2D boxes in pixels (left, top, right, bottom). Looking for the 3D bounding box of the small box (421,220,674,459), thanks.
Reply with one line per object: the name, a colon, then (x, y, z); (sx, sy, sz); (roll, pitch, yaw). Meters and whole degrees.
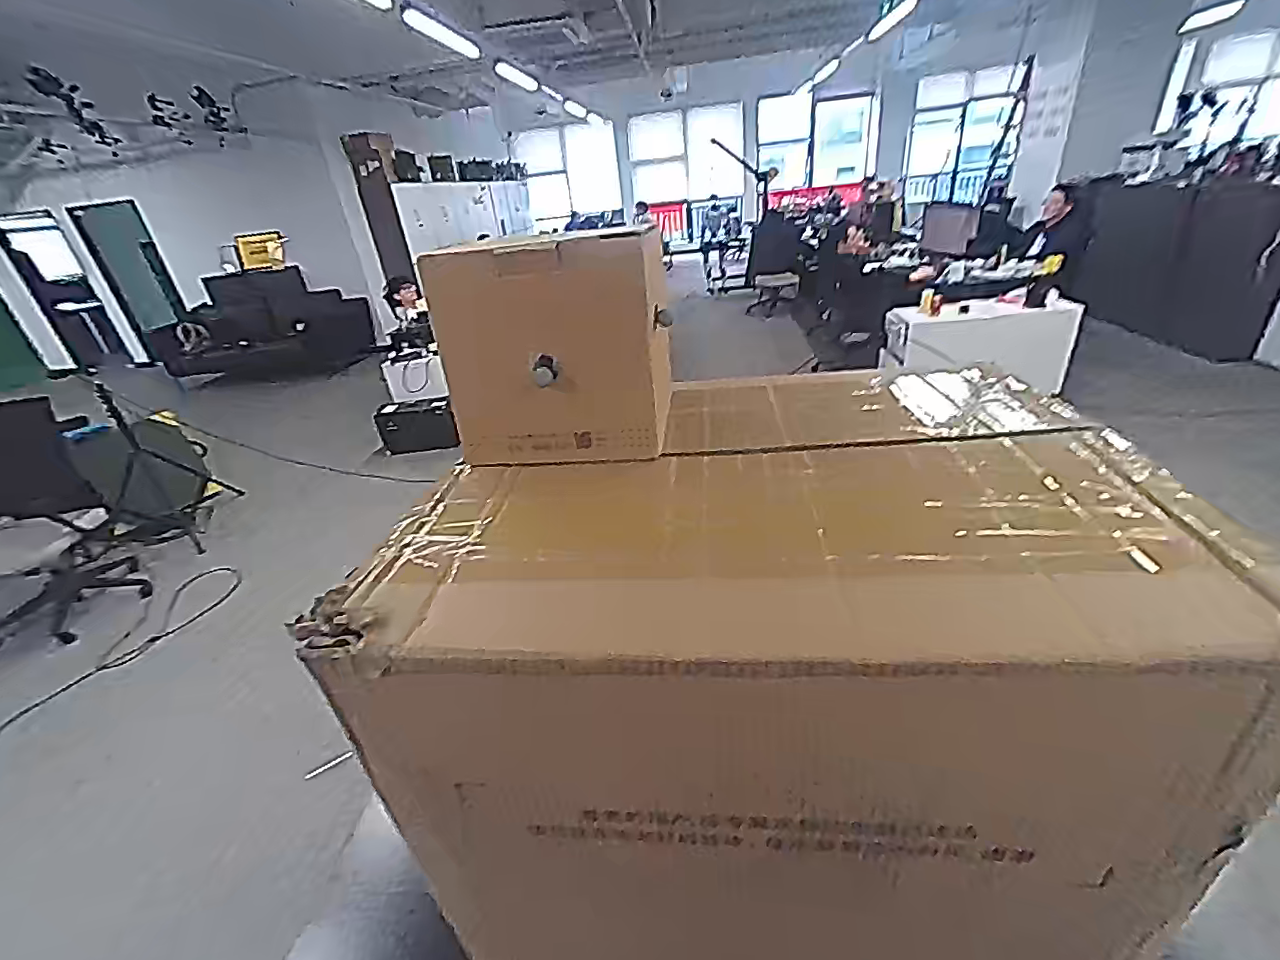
small box: (-0.058, -0.124, 0.479); (0.168, 0.176, 0.179); (-2, 28, 7)
